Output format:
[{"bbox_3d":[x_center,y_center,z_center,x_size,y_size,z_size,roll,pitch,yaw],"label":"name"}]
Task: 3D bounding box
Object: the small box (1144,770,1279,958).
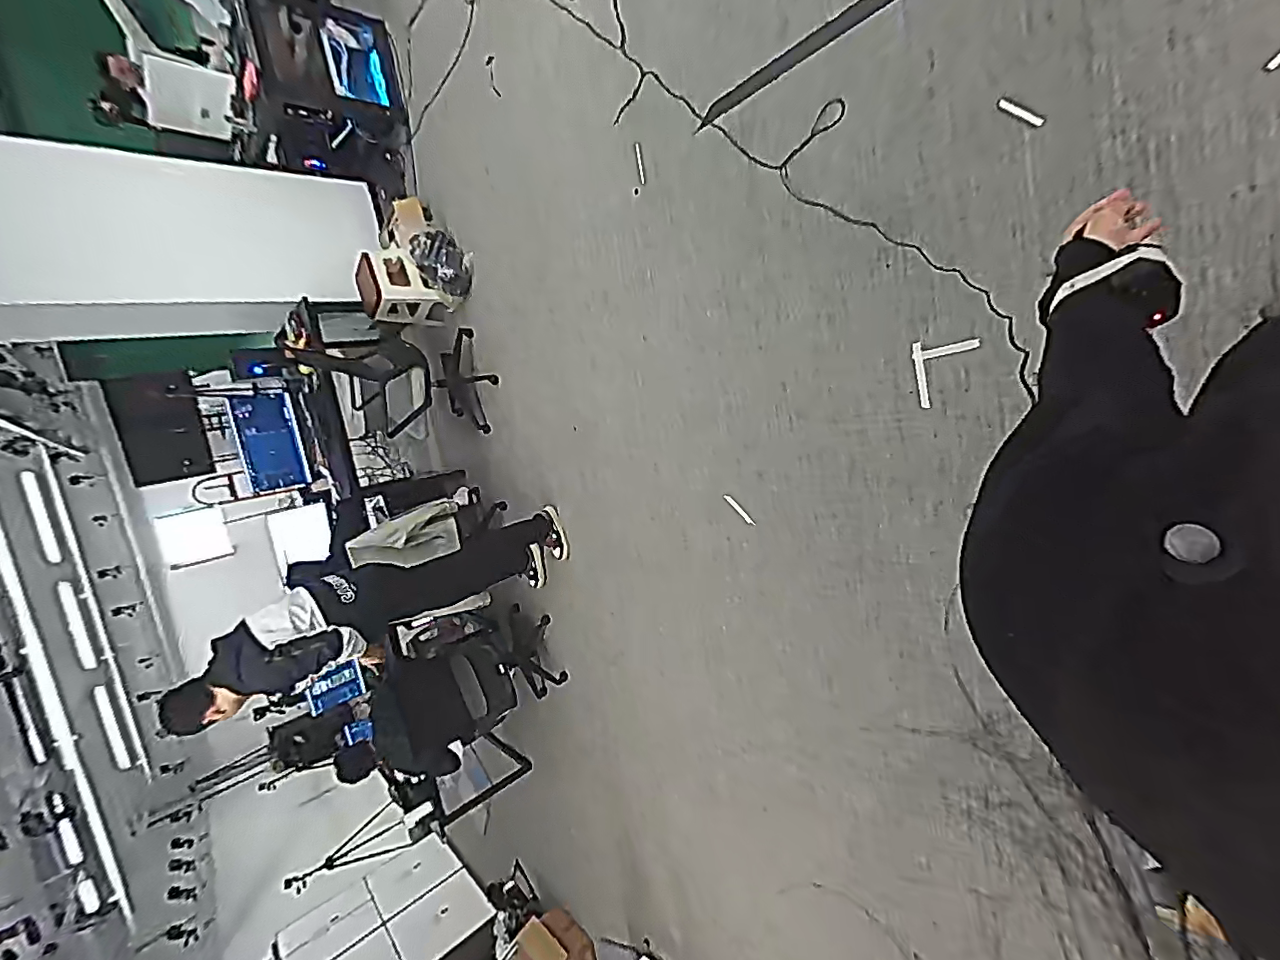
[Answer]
[{"bbox_3d":[0.949,0.601,0.865,0.179,0.176,0.168,-5,98,52],"label":"small box"}]
